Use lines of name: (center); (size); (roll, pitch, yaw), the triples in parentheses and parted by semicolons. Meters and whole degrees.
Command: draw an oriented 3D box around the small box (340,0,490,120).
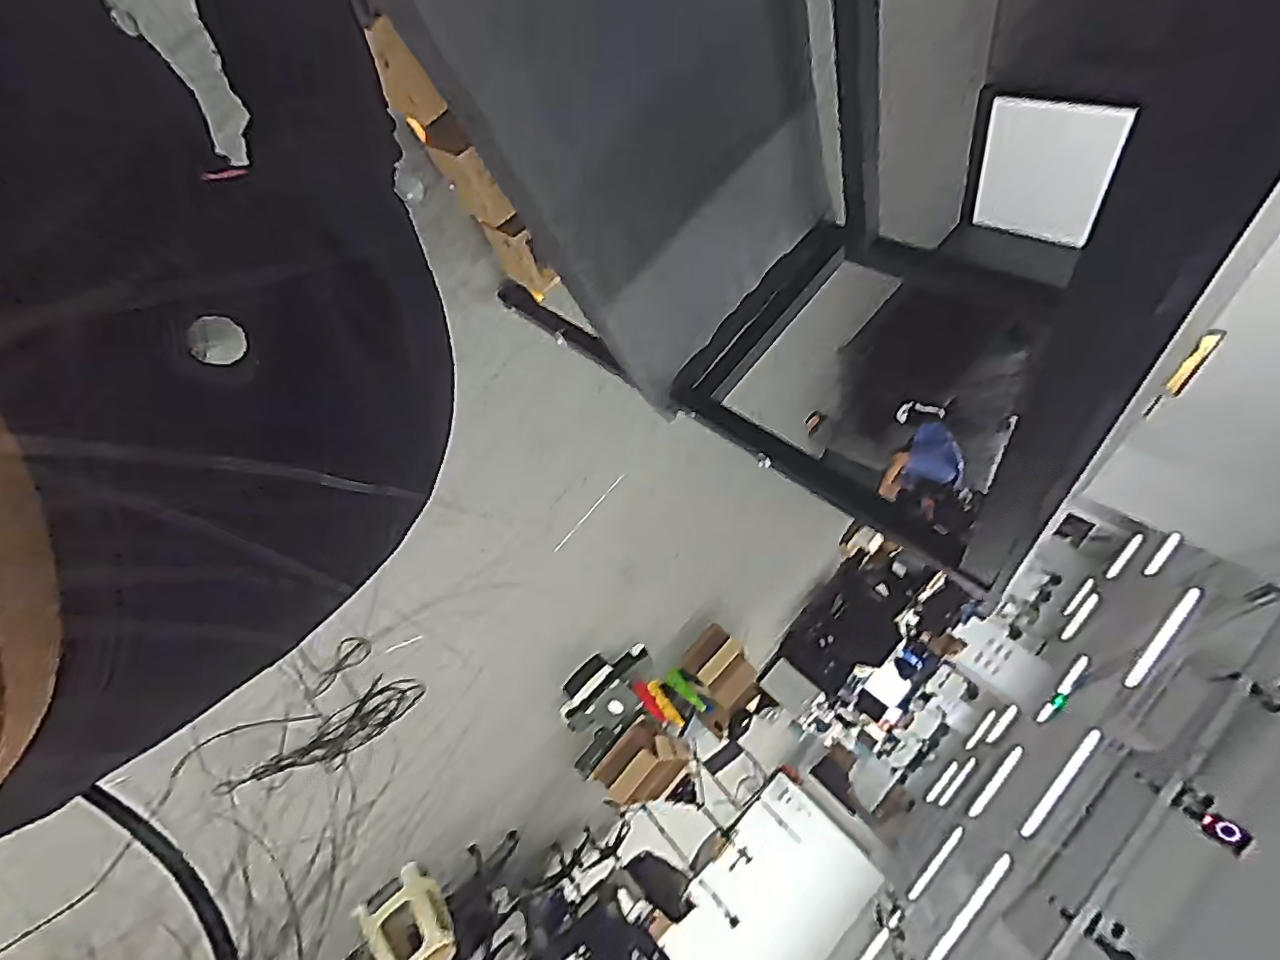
small box: (-0.431, -0.836, 1.033); (0.179, 0.176, 0.168); (-44, 146, -7)
